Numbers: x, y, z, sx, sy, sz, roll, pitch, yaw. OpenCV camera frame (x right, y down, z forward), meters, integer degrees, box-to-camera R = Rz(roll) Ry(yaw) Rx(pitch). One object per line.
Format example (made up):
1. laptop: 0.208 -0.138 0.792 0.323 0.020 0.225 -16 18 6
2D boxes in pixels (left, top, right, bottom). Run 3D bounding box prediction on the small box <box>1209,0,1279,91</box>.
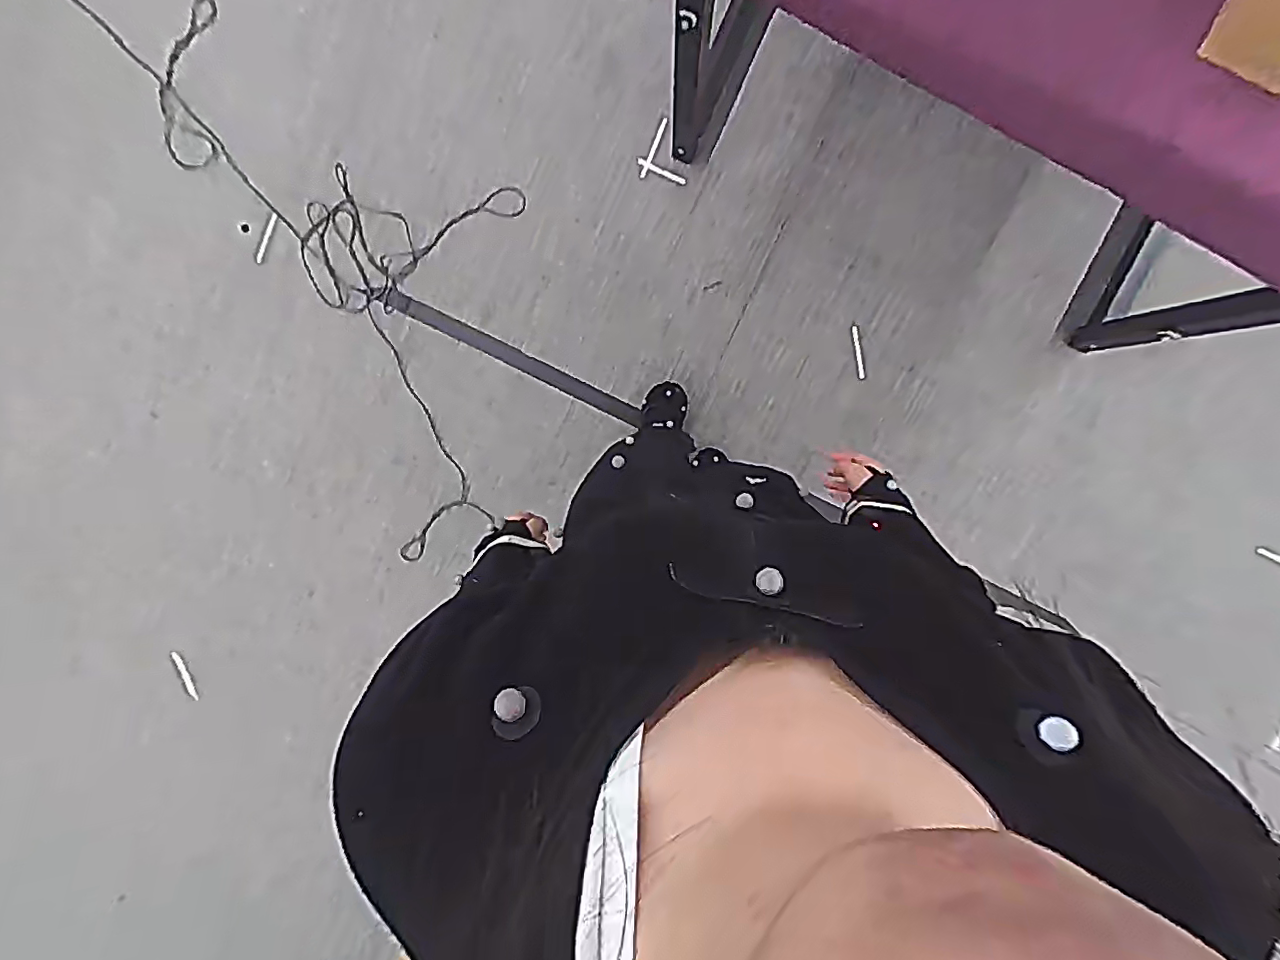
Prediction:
1. small box: 0.795 -0.561 0.583 0.168 0.176 0.179 25 97 0
